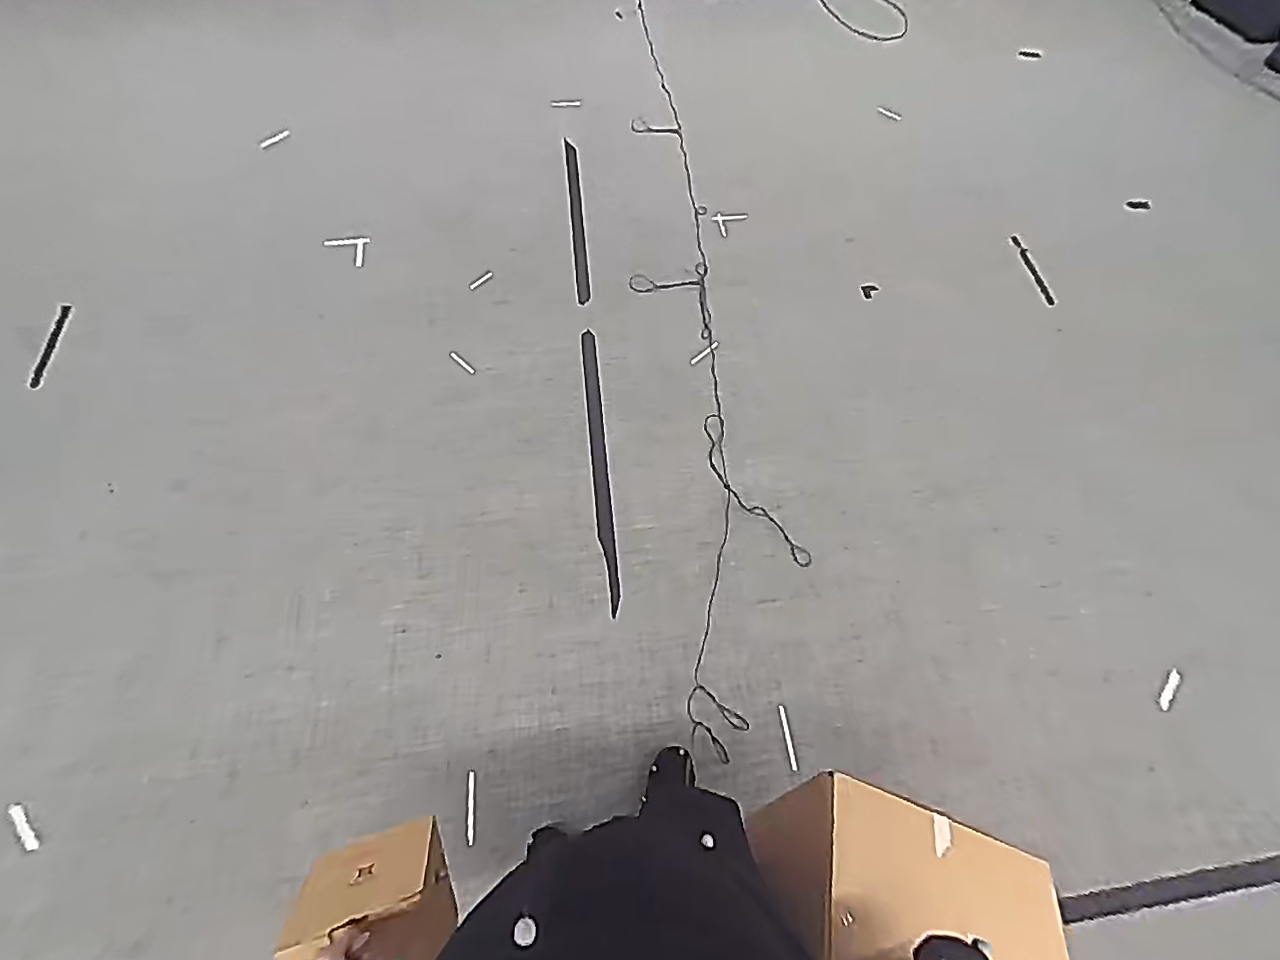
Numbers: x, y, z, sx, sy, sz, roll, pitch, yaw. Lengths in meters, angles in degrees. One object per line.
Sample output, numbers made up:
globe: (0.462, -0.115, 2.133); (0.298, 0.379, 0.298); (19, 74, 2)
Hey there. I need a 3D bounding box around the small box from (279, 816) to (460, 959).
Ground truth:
small box: (-0.344, 0.607, 0.722); (0.168, 0.179, 0.176); (-13, 94, -16)
